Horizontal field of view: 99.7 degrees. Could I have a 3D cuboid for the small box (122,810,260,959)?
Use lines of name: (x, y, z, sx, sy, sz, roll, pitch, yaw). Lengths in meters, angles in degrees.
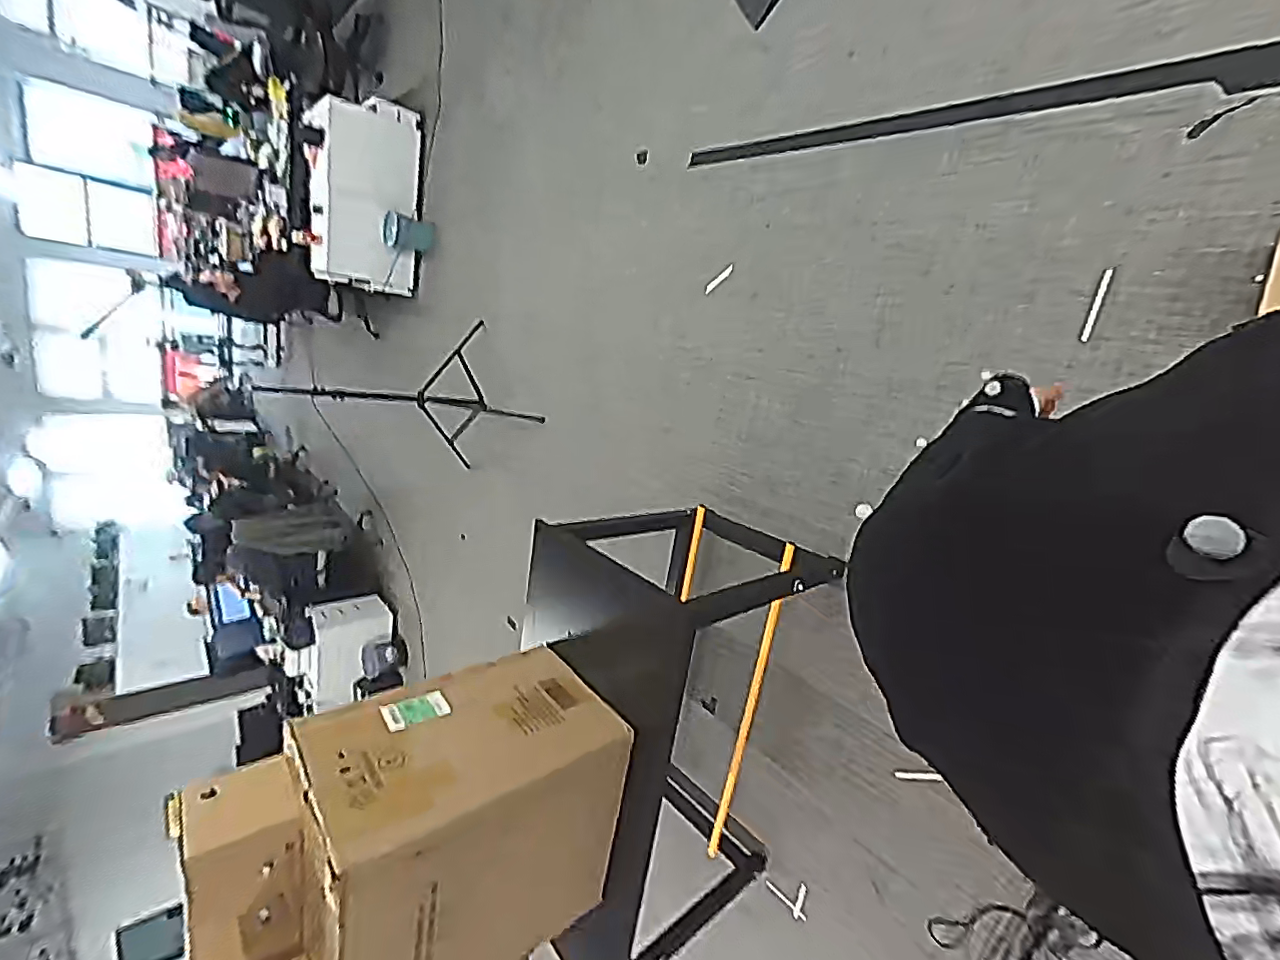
small box: (-0.771, 0.714, 0.937, 0.179, 0.176, 0.168, 23, 111, 46)
